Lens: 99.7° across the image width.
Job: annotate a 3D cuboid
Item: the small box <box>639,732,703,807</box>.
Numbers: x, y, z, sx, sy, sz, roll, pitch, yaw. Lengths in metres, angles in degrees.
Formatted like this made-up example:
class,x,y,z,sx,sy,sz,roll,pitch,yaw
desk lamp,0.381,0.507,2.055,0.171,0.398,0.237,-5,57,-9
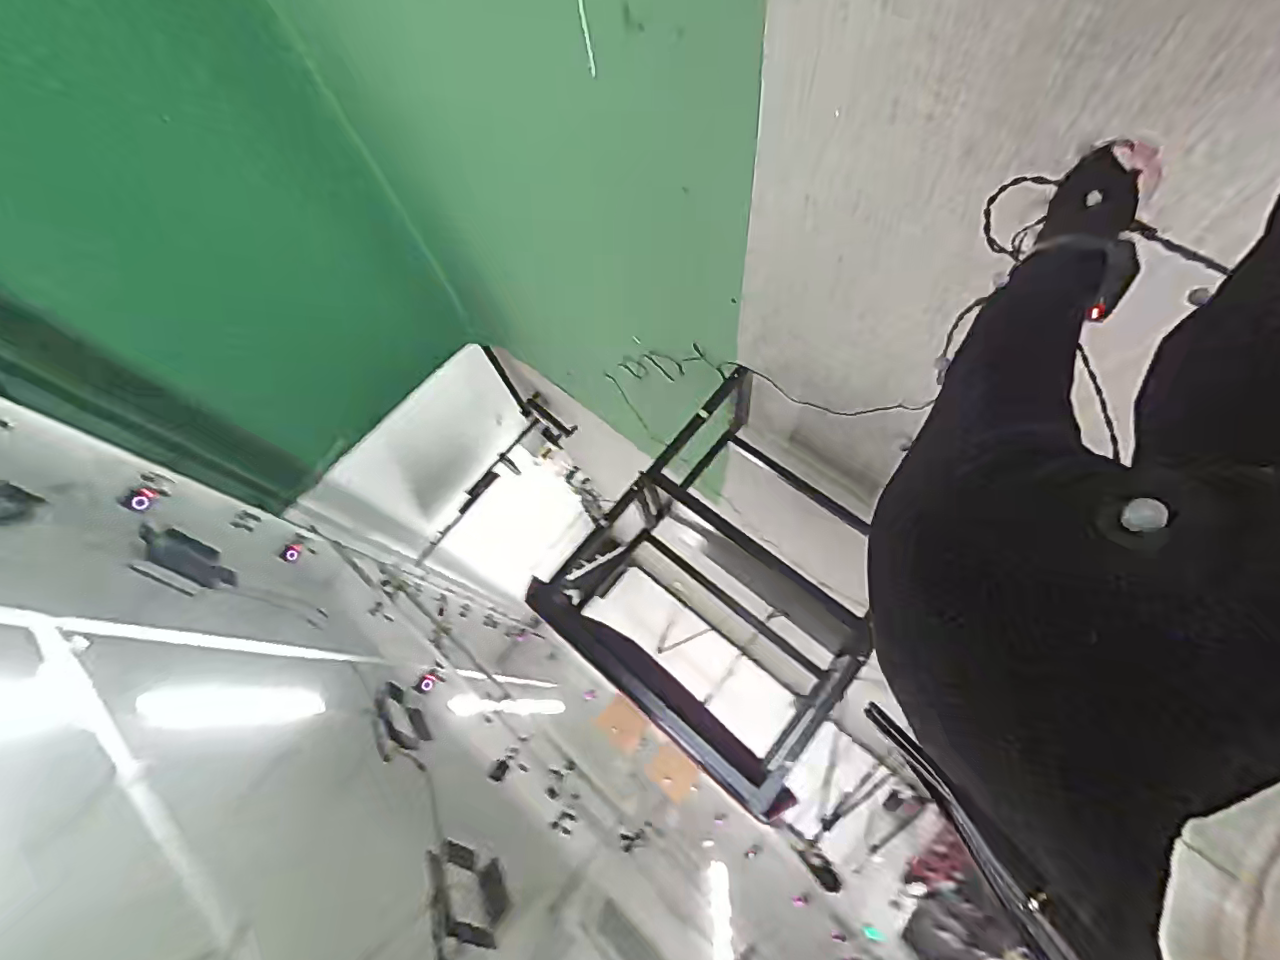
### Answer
class,x,y,z,sx,sy,sz,roll,pitch,yaw
small box,0.122,1.083,2.036,0.179,0.176,0.168,39,167,18

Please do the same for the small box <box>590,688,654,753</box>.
class,x,y,z,sx,sy,sz,roll,pitch,yaw
small box,-0.066,0.937,2.123,0.179,0.176,0.168,36,167,21
